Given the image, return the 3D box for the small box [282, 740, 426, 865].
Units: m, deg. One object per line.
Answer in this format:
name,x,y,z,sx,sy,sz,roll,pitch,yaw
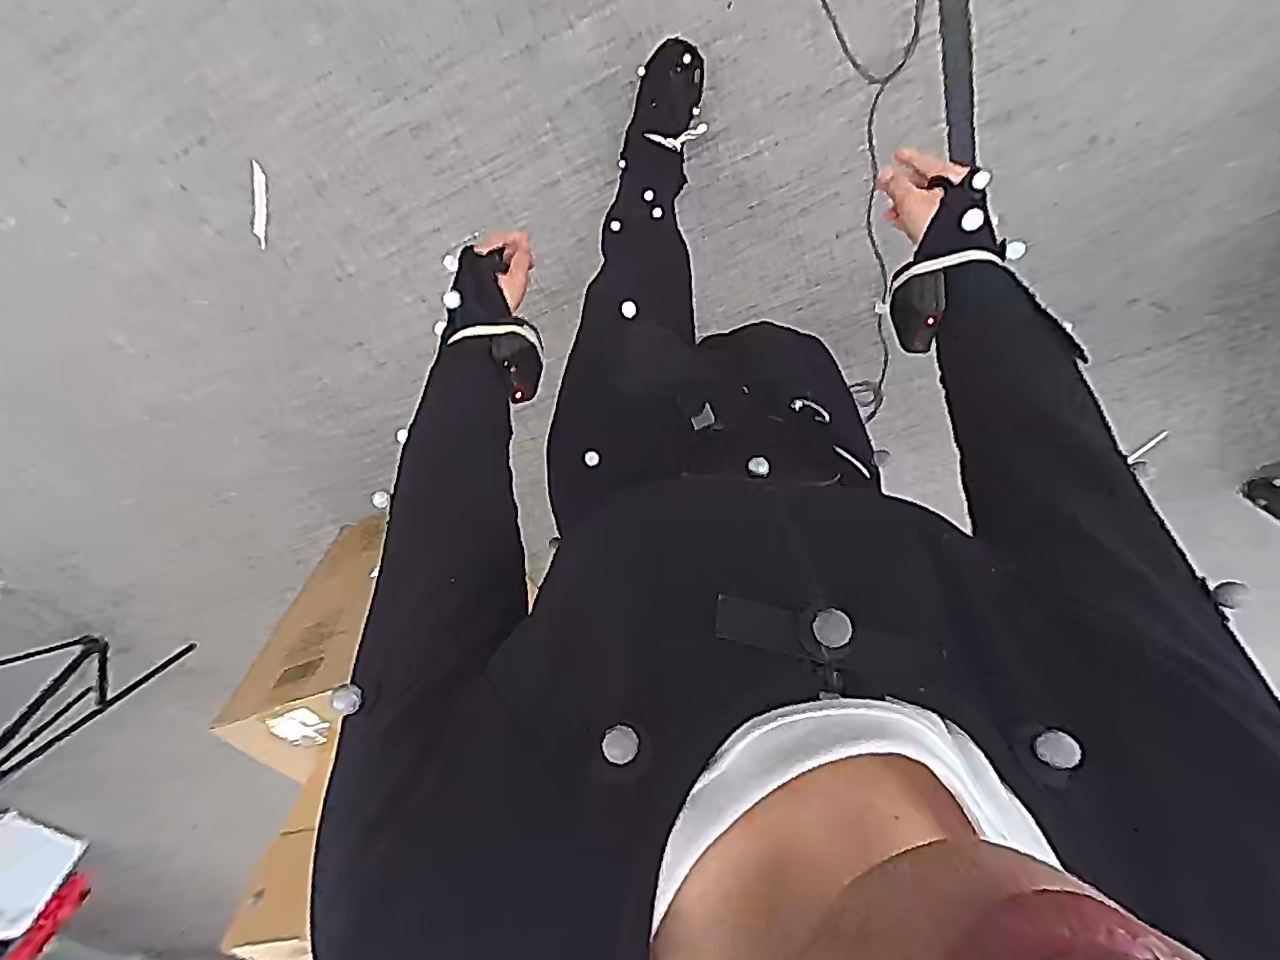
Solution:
small box,-0.583,0.666,1.129,0.168,0.176,0.179,-21,125,14
